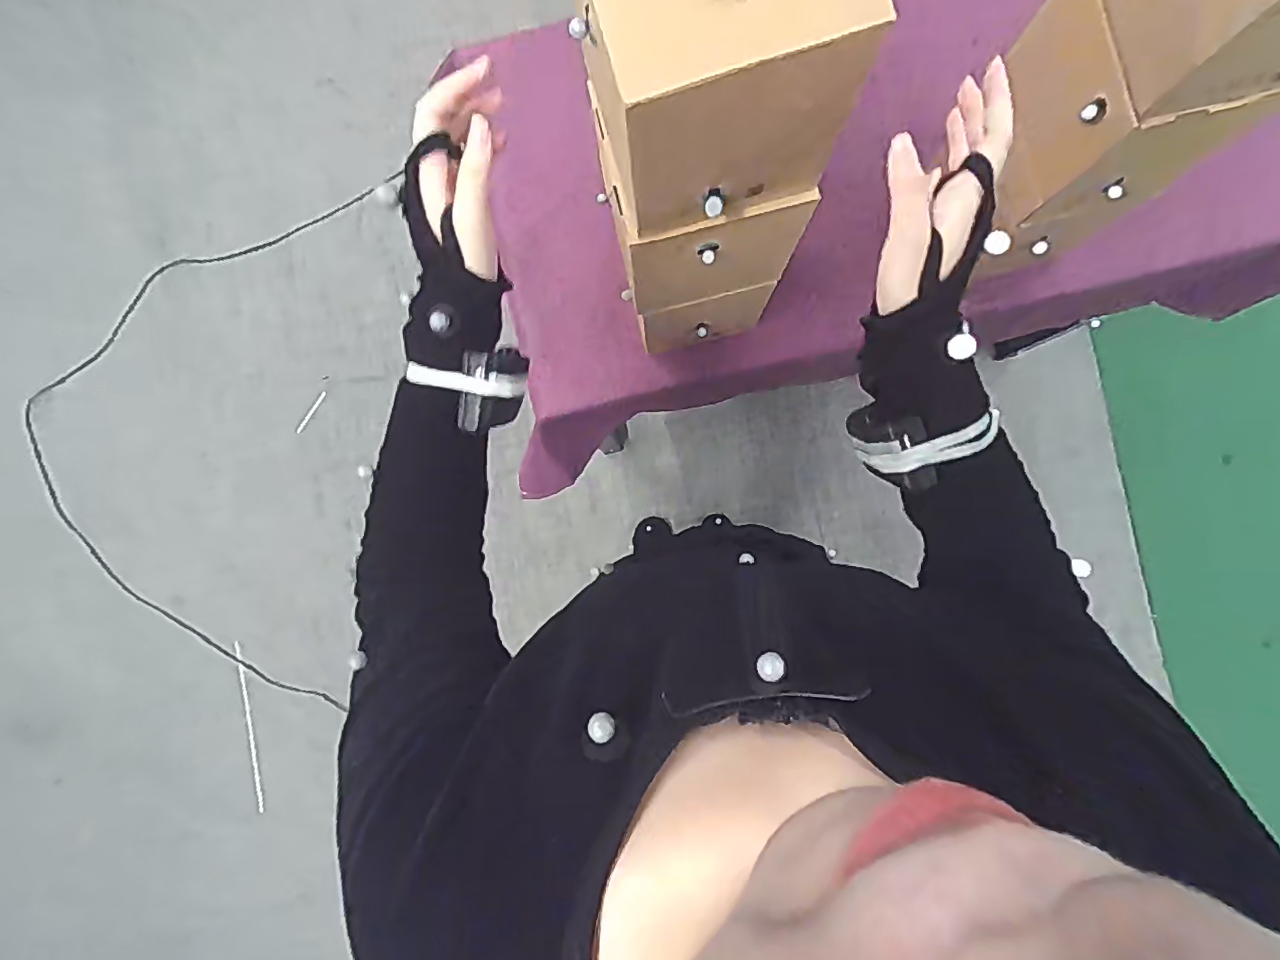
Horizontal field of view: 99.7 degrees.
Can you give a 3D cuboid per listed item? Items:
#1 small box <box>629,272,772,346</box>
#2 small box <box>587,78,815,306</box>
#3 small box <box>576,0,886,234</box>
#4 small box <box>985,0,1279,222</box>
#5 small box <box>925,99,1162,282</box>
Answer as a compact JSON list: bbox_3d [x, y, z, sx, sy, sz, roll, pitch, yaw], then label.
[{"bbox_3d":[0.066,-0.293,0.725,0.168,0.176,0.179,-13,86,1],"label":"small box"},{"bbox_3d":[0.057,-0.301,0.561,0.179,0.176,0.168,-13,86,1],"label":"small box"},{"bbox_3d":[0.047,-0.320,0.399,0.168,0.176,0.179,-15,87,2],"label":"small box"},{"bbox_3d":[0.490,-0.400,0.547,0.168,0.176,0.179,-12,87,2],"label":"small box"},{"bbox_3d":[0.503,-0.384,0.709,0.179,0.176,0.168,-14,86,3],"label":"small box"}]
